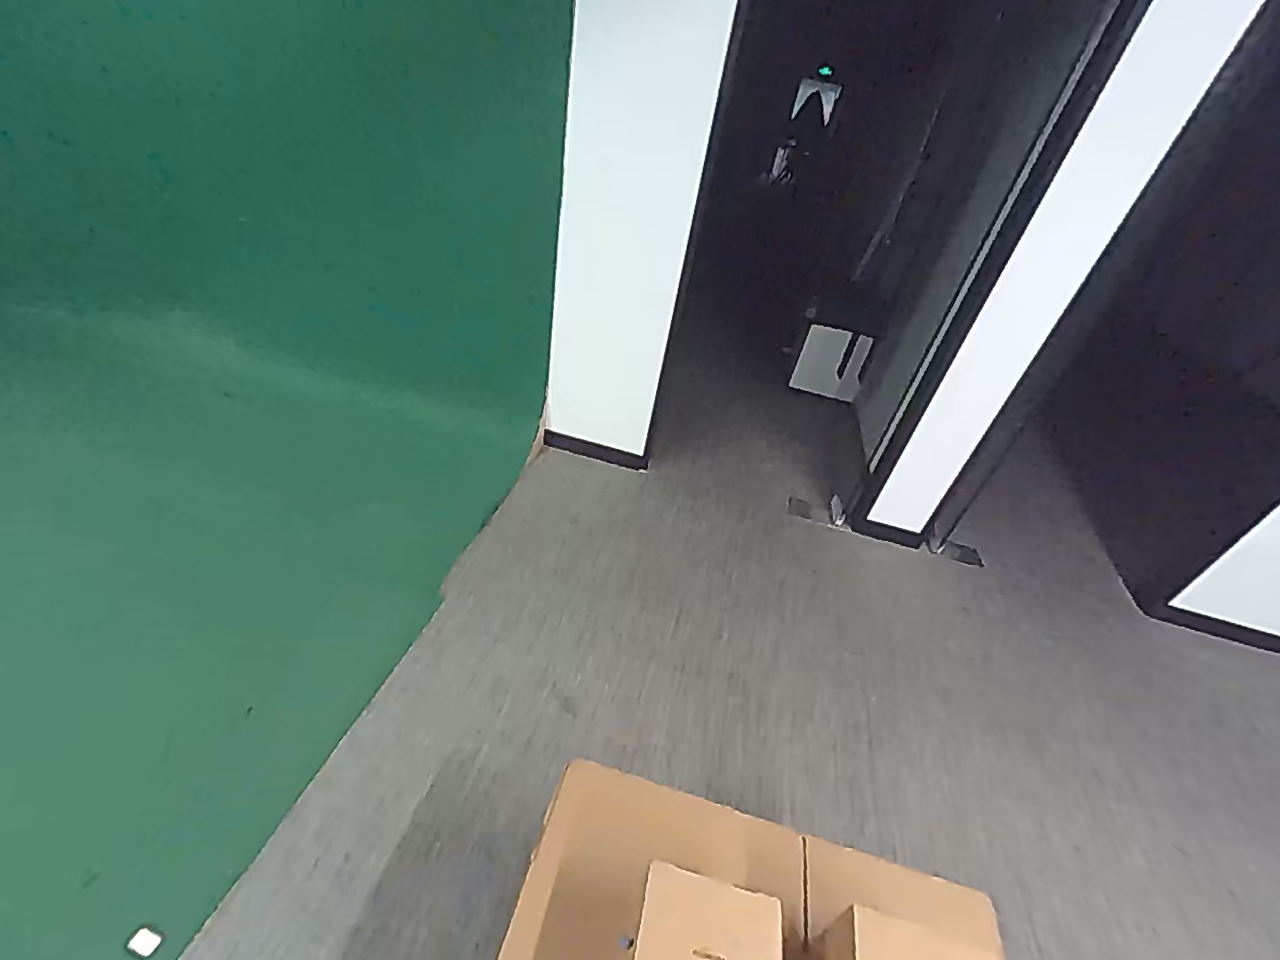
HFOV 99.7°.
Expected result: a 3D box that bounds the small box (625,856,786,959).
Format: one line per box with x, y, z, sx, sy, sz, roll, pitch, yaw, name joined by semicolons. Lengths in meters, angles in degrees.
0.066;0.593;0.633;0.168;0.176;0.179;13;35;6;small box
